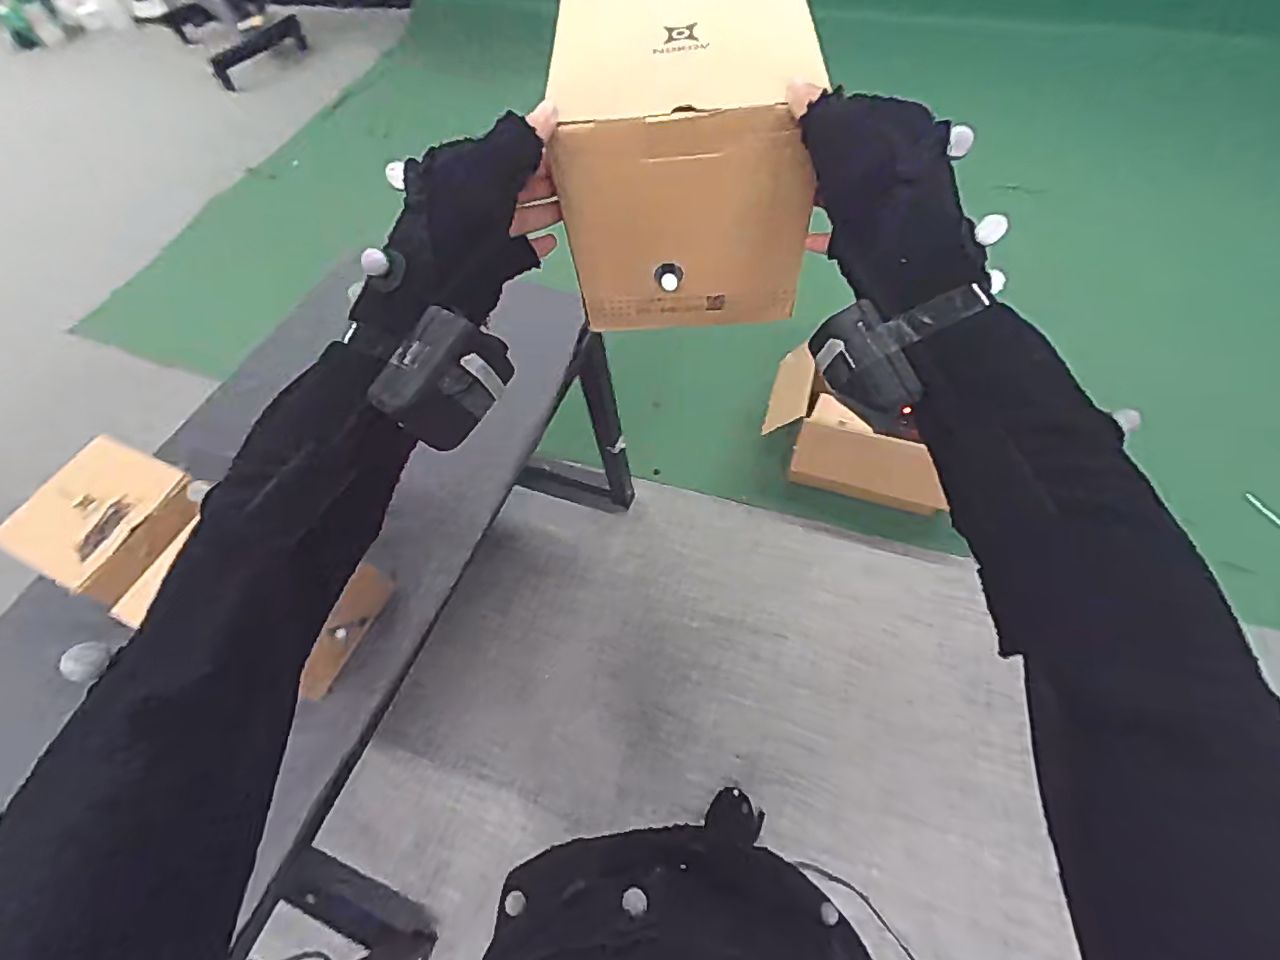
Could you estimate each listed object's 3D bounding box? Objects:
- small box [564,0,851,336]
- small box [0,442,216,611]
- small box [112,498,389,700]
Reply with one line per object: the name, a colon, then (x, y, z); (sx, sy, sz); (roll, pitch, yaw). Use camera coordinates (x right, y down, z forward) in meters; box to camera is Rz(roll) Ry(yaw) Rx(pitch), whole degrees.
small box: (0.045, -0.235, 0.416); (0.168, 0.176, 0.179); (-2, 62, 5)
small box: (-0.666, 0.081, 0.728); (0.179, 0.176, 0.168); (19, 63, 16)
small box: (-0.458, 0.152, 0.666); (0.179, 0.176, 0.168); (18, 63, 16)
